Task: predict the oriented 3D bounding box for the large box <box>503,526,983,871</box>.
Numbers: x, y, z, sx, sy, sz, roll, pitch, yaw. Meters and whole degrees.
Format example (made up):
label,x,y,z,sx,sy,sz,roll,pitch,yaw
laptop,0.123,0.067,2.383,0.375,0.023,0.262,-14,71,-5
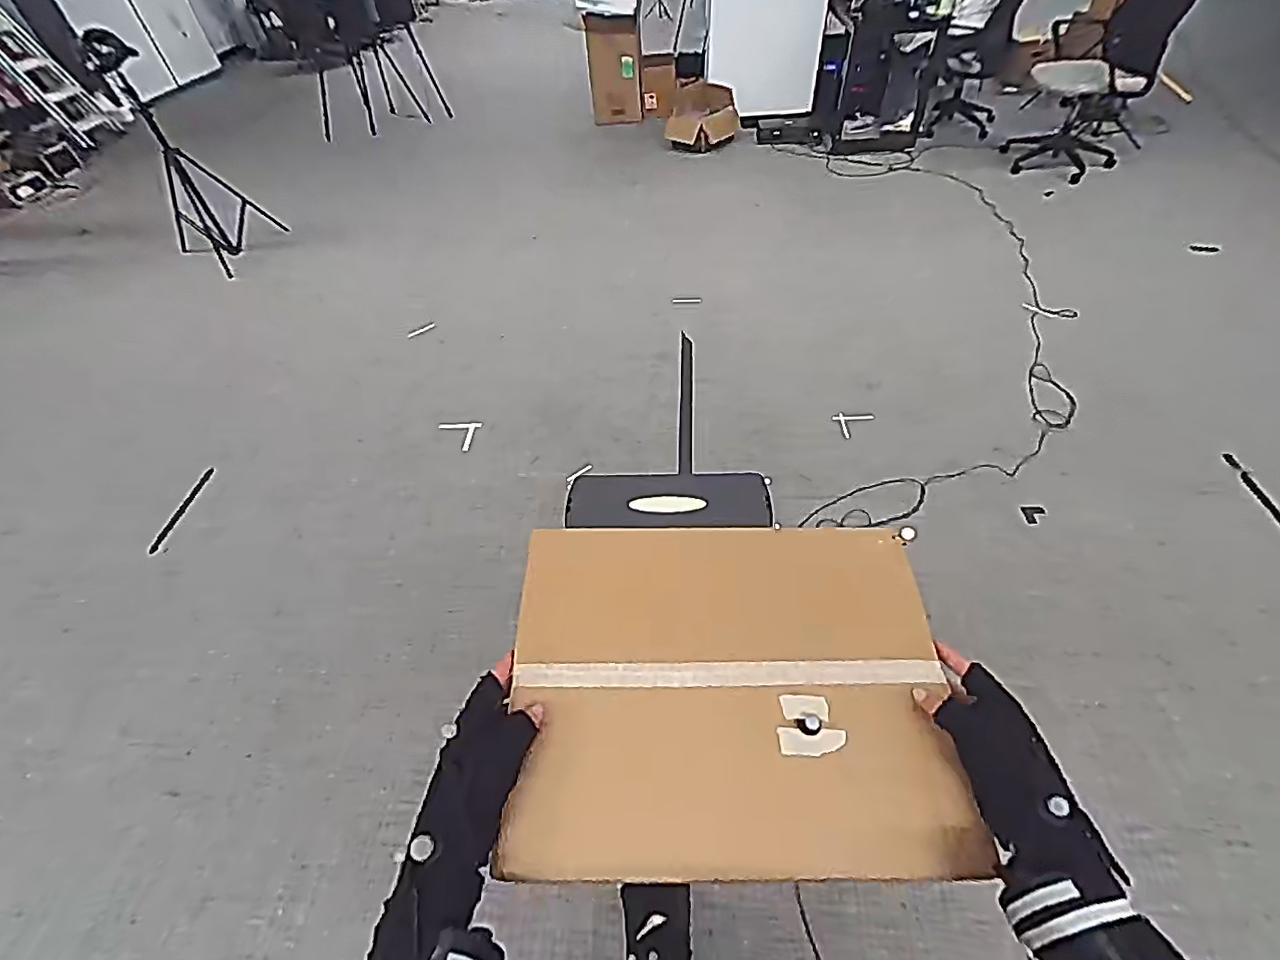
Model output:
label,x,y,z,sx,sy,sz,roll,pitch,yaw
large box,0.080,0.264,0.644,0.408,0.320,0.320,0,57,-1
